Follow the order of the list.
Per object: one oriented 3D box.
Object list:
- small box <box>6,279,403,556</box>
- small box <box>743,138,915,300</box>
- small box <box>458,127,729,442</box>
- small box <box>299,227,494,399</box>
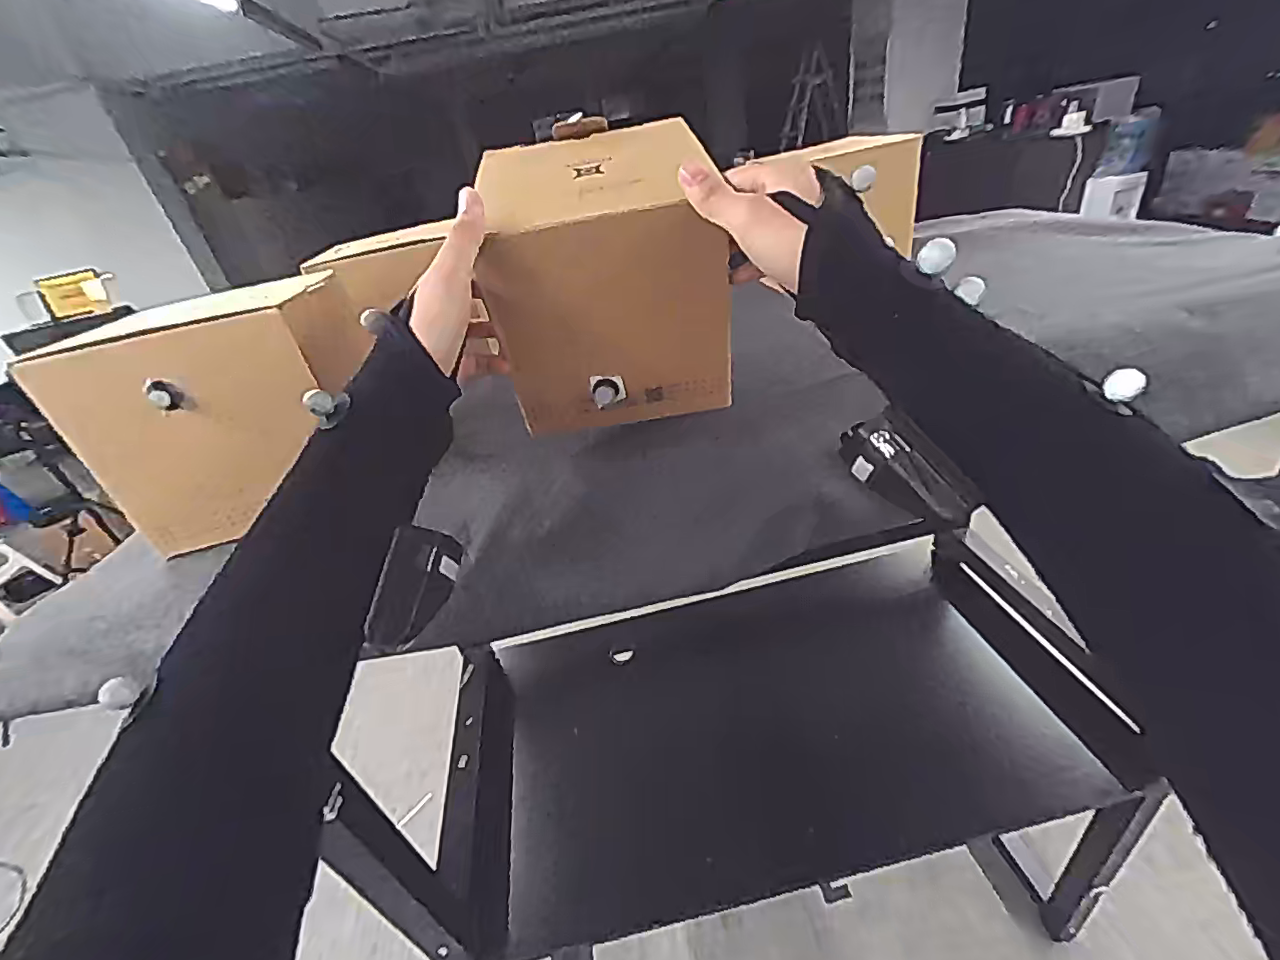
[{"bbox_3d":[-0.334,-0.058,0.467,0.179,0.176,0.168,-15,31,-7],"label":"small box"},{"bbox_3d":[0.257,-0.364,0.761,0.168,0.176,0.179,-14,32,-4],"label":"small box"},{"bbox_3d":[-0.028,-0.157,0.436,0.168,0.176,0.179,-11,45,1],"label":"small box"},{"bbox_3d":[-0.301,-0.222,0.718,0.179,0.176,0.168,-14,32,-5],"label":"small box"}]
